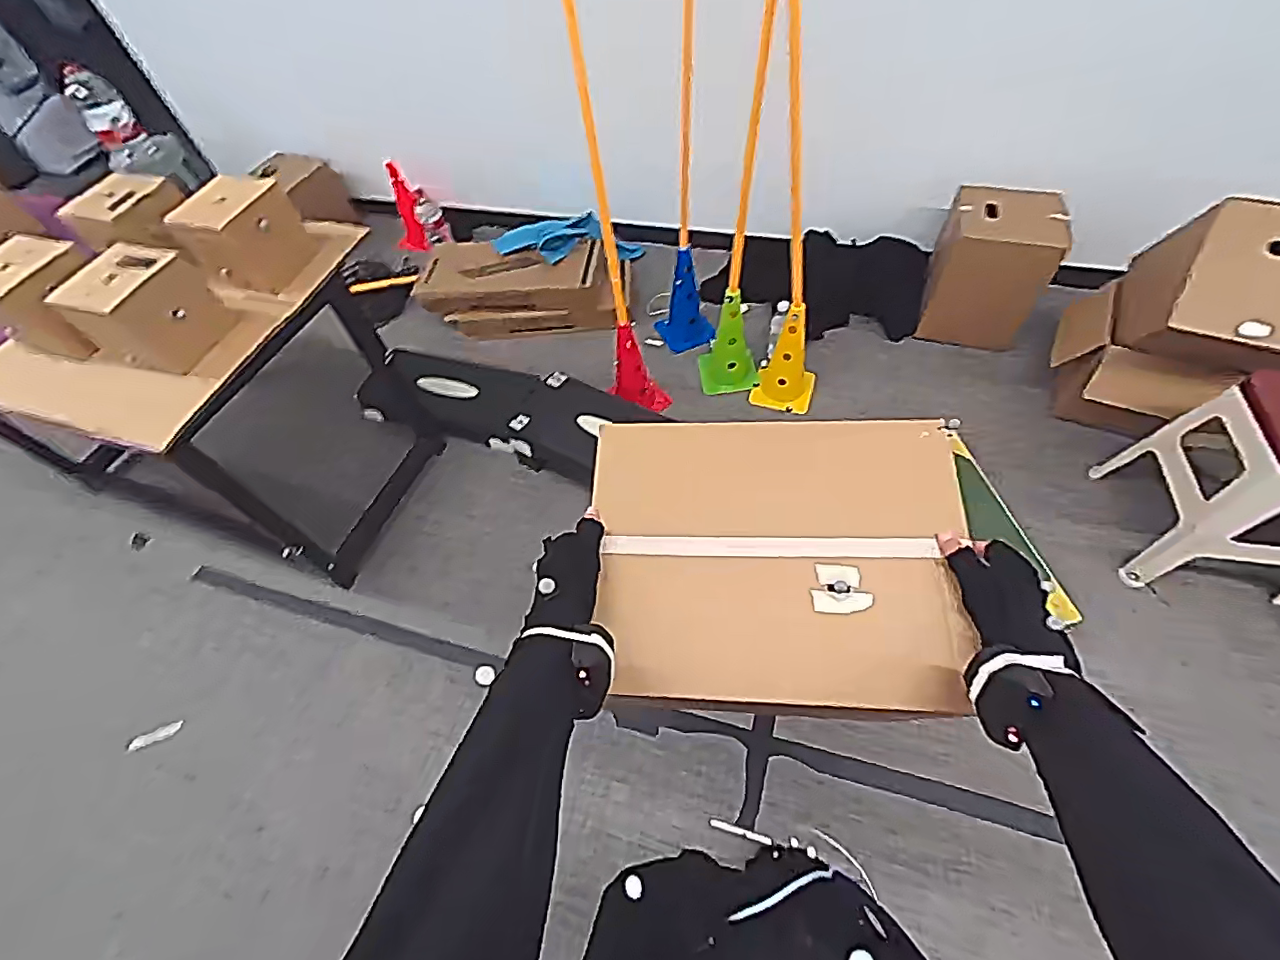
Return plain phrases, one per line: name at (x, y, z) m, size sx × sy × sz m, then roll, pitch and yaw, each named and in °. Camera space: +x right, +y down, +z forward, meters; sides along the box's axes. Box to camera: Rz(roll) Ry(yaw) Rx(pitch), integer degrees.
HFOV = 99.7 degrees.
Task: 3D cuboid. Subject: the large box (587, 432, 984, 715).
large box at (0.157, 0.148, 0.740) m, size 0.408 × 0.320 × 0.320 m, roll -1°, pitch 66°, yaw 7°
